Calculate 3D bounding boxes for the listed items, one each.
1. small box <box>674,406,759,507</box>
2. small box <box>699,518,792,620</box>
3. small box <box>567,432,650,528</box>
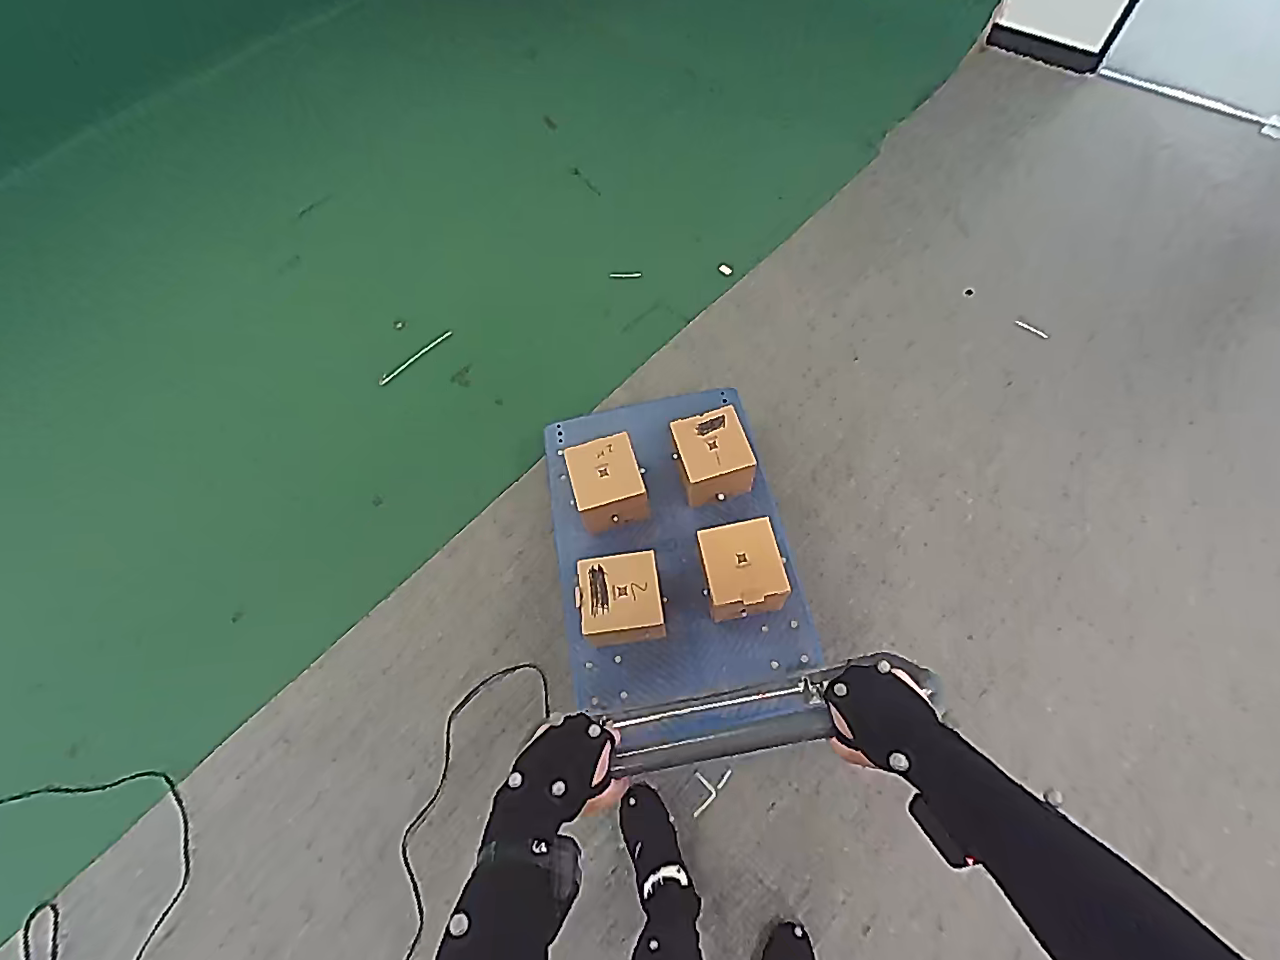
[{"bbox_3d":[0.187,-0.055,1.370,0.168,0.176,0.179,-16,65,-2],"label":"small box"},{"bbox_3d":[0.233,0.209,1.242,0.168,0.176,0.179,-11,65,0],"label":"small box"},{"bbox_3d":[-0.075,0.009,1.363,0.168,0.176,0.179,-15,64,-3],"label":"small box"}]
